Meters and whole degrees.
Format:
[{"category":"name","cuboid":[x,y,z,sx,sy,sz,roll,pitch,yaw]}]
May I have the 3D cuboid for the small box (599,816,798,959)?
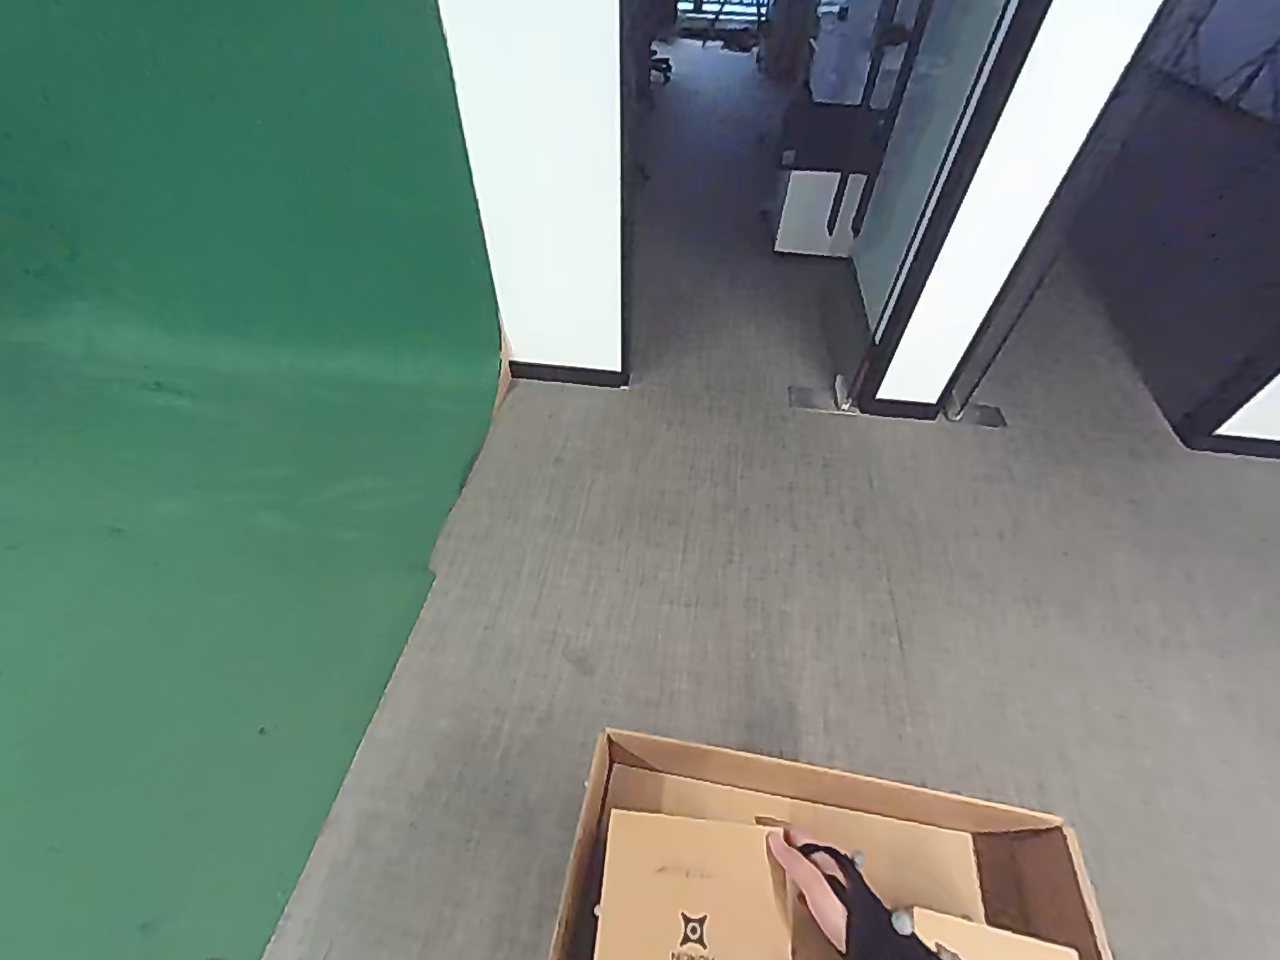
[{"category":"small box","cuboid":[0.049,0.440,0.509,0.168,0.176,0.179,5,49,3]}]
